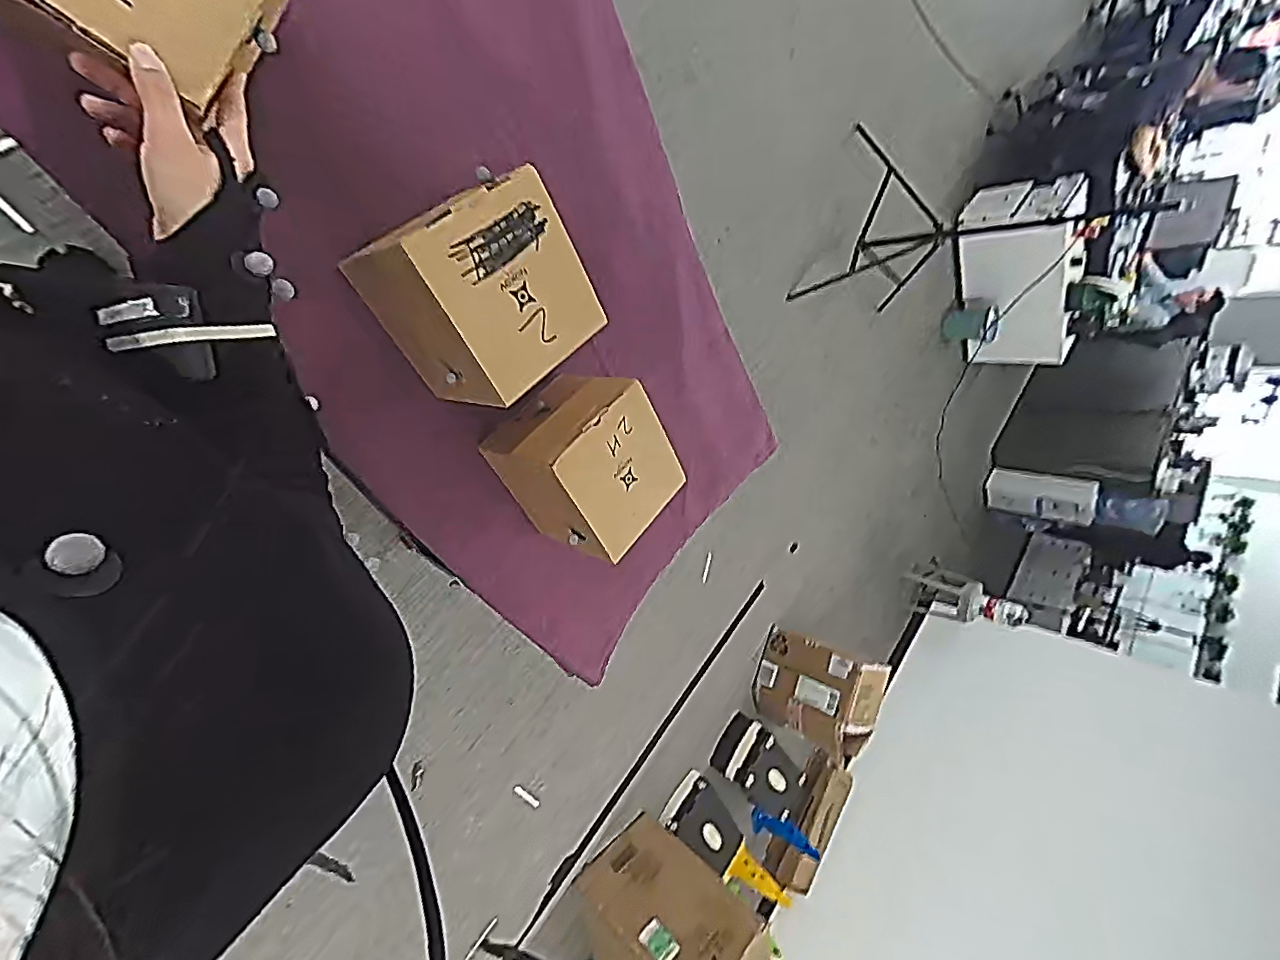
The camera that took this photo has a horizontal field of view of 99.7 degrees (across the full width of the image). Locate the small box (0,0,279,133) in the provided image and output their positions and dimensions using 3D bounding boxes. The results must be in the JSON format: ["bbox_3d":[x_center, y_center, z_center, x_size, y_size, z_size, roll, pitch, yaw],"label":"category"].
[{"bbox_3d":[-0.334,-0.361,0.341,0.168,0.176,0.179,29,87,-43],"label":"small box"}]

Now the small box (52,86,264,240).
[{"bbox_3d":[-0.741,-0.498,0.848,0.168,0.176,0.179,-50,129,-21],"label":"small box"}]
